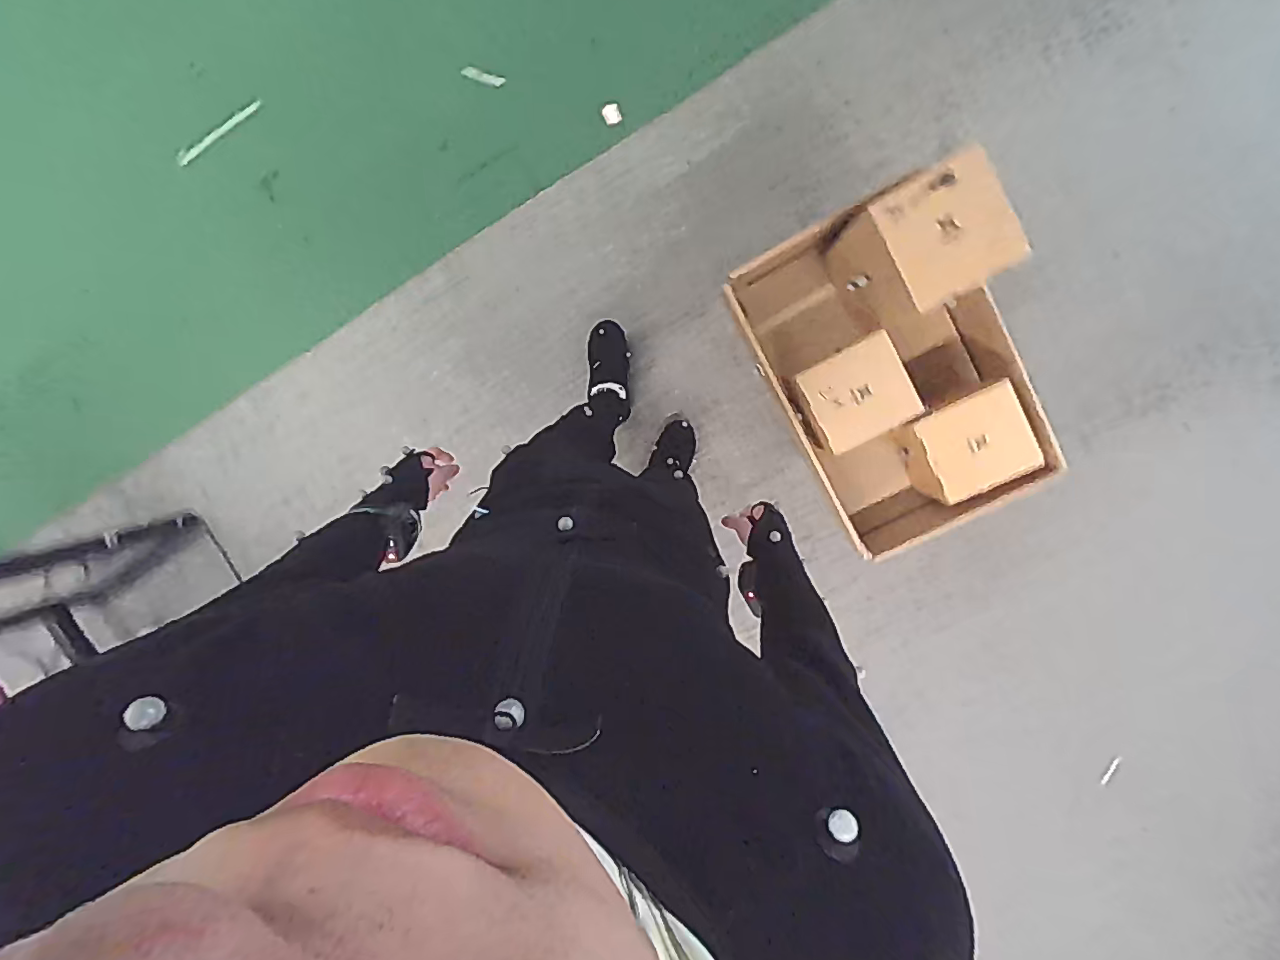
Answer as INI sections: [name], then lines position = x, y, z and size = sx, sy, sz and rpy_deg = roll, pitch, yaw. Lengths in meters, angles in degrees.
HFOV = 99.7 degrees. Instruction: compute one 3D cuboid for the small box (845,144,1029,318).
[small box]
position = 0.448, -0.368, 0.843
size = 0.168, 0.176, 0.179
rpy_deg = -27, 97, 10
